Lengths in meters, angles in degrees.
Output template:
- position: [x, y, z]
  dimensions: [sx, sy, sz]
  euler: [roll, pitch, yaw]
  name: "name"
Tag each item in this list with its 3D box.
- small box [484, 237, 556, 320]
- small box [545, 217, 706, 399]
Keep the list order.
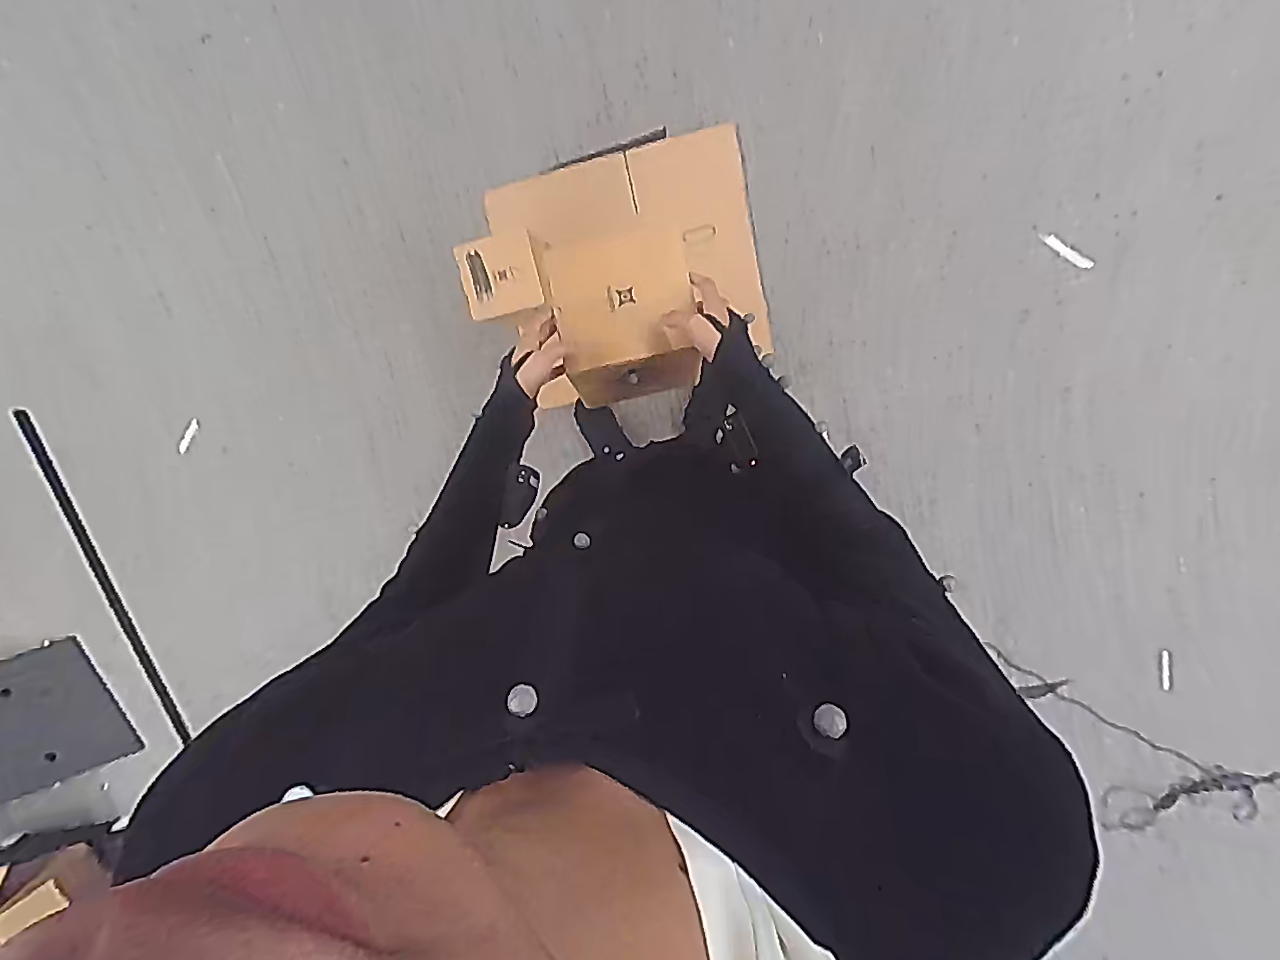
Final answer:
- position: [-0.285, -0.527, 1.434]
  dimensions: [0.179, 0.176, 0.168]
  euler: [-12, 103, 8]
  name: "small box"
- position: [-0.015, -0.223, 0.745]
  dimensions: [0.179, 0.176, 0.168]
  euler: [-13, 83, 3]
  name: "small box"
